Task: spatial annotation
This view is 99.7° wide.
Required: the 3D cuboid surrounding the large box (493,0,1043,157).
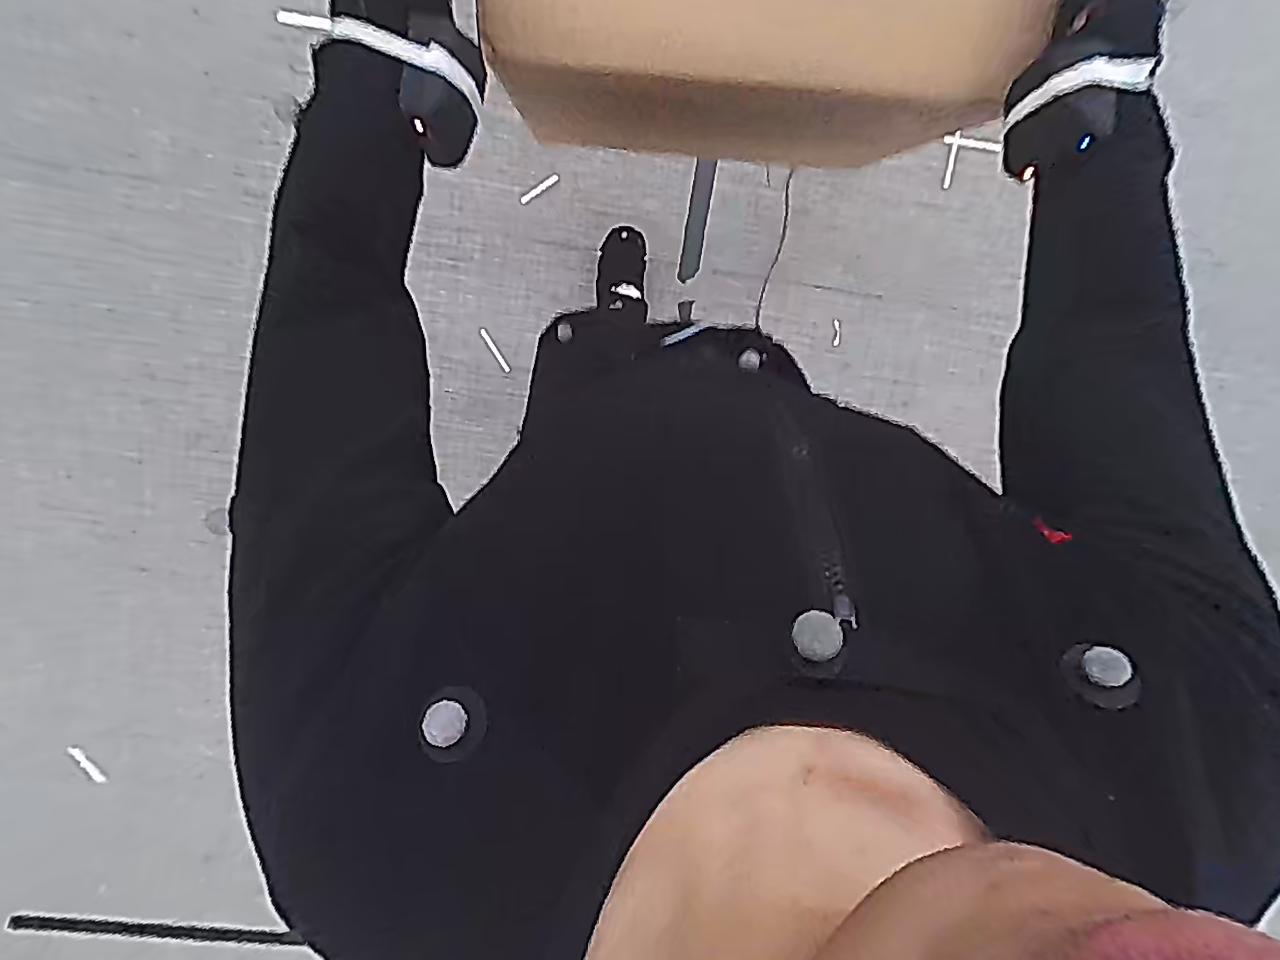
[{"bbox_3d":[0.089,-0.498,0.478,0.408,0.320,0.320,2,113,-5],"label":"large box"}]
